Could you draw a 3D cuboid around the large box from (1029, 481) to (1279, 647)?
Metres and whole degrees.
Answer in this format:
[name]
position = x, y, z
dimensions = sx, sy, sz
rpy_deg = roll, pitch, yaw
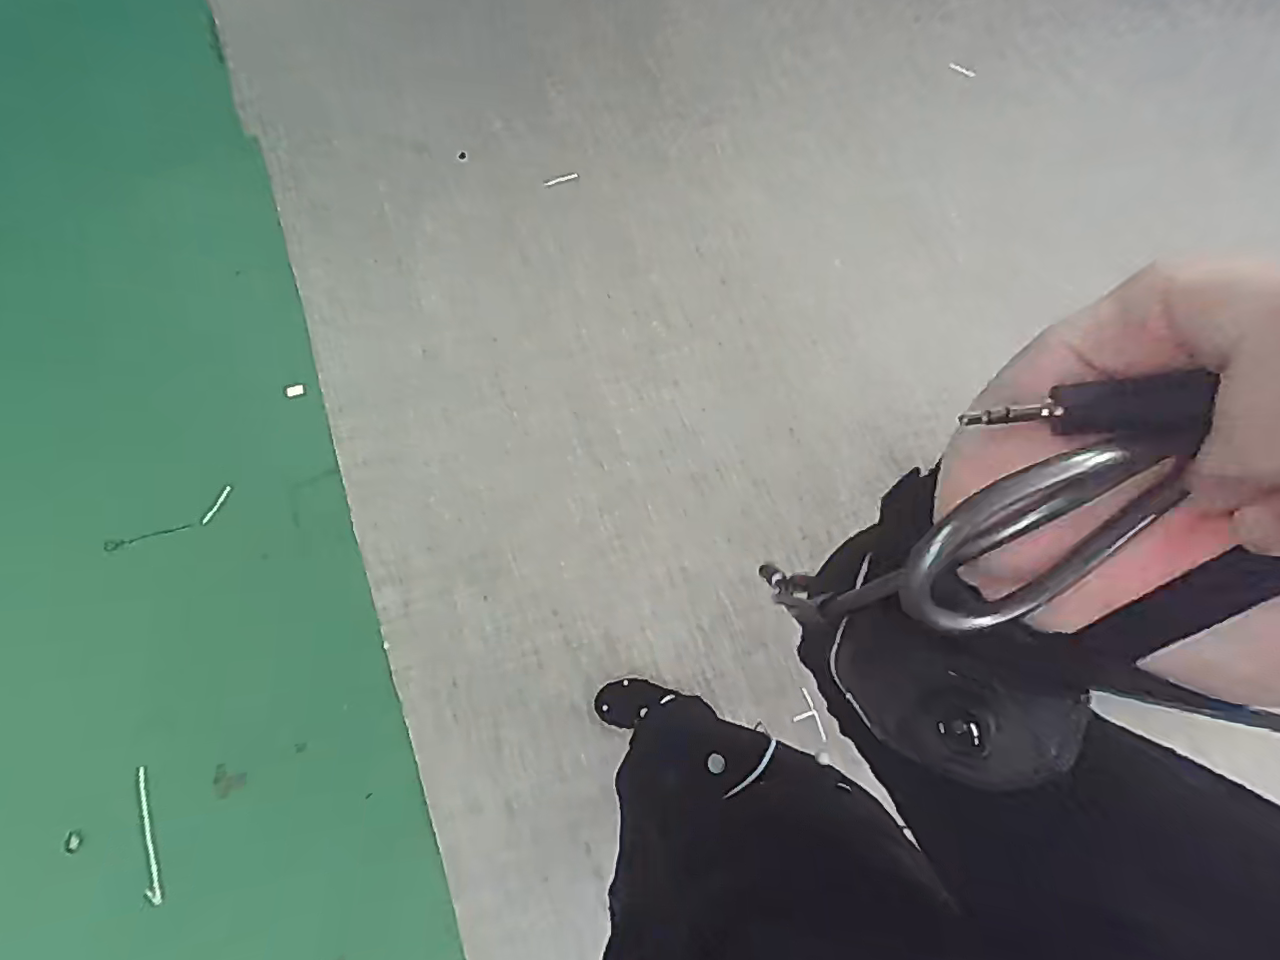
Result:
[large box]
position = 1.161, 0.192, 1.168
dimensions = 0.408, 0.320, 0.320
rpy_deg = 2, 76, 0
